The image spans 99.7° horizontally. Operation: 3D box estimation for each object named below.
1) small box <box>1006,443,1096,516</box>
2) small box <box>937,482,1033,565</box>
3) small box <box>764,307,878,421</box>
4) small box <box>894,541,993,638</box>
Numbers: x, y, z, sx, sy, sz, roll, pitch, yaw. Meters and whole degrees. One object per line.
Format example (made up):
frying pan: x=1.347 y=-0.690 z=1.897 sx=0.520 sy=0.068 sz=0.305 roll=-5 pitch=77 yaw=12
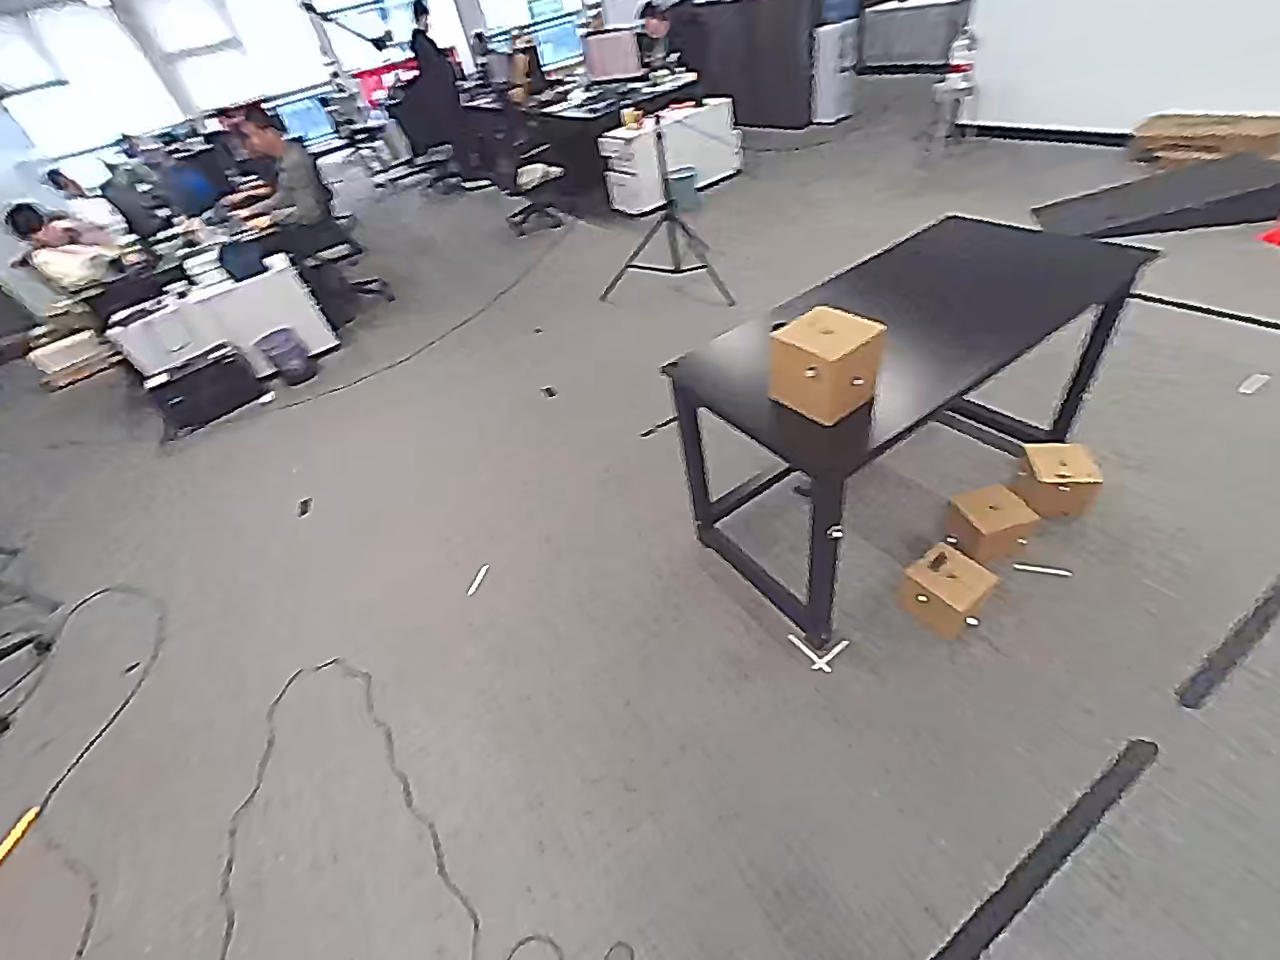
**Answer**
small box: x=1.324 y=-0.002 z=1.758 sx=0.168 sy=0.176 sz=0.179 roll=-1 pitch=44 yaw=15
small box: x=1.065 y=0.139 z=1.687 sx=0.179 sy=0.176 sz=0.168 roll=-18 pitch=42 yaw=-1
small box: x=0.399 y=-0.255 z=1.207 sx=0.168 sy=0.176 sz=0.179 roll=-33 pitch=45 yaw=-19
small box: x=0.861 y=0.318 z=1.555 sx=0.168 sy=0.176 sz=0.179 roll=-32 pitch=47 yaw=-18
